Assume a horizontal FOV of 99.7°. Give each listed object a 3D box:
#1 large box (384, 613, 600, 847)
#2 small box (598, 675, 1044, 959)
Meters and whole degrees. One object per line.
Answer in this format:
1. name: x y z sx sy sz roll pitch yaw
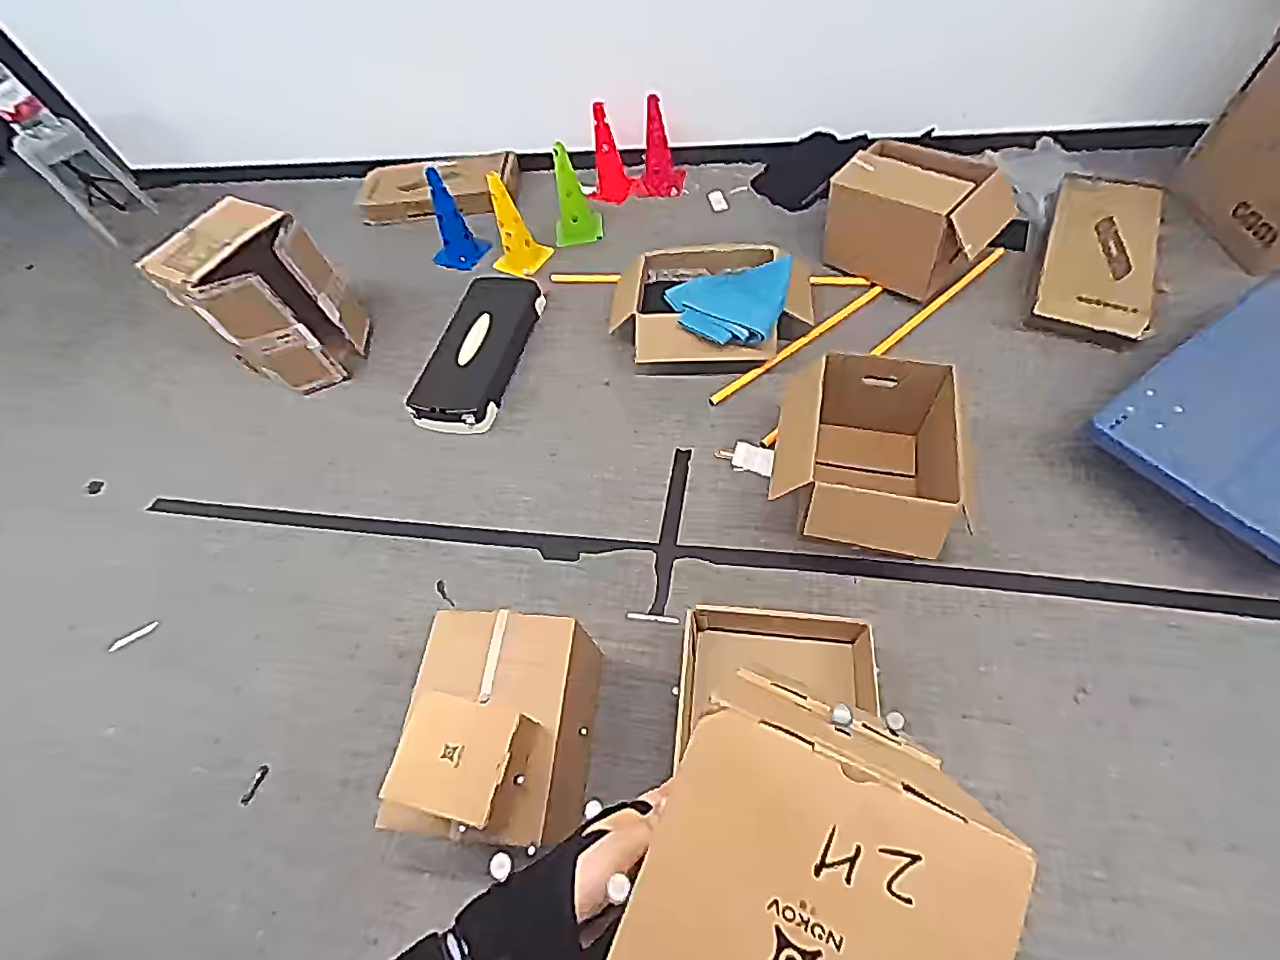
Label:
1. large box: -0.279 0.531 1.172 0.320 0.320 0.408 0 60 9
2. small box: 0.093 0.237 0.325 0.168 0.176 0.179 21 80 18
